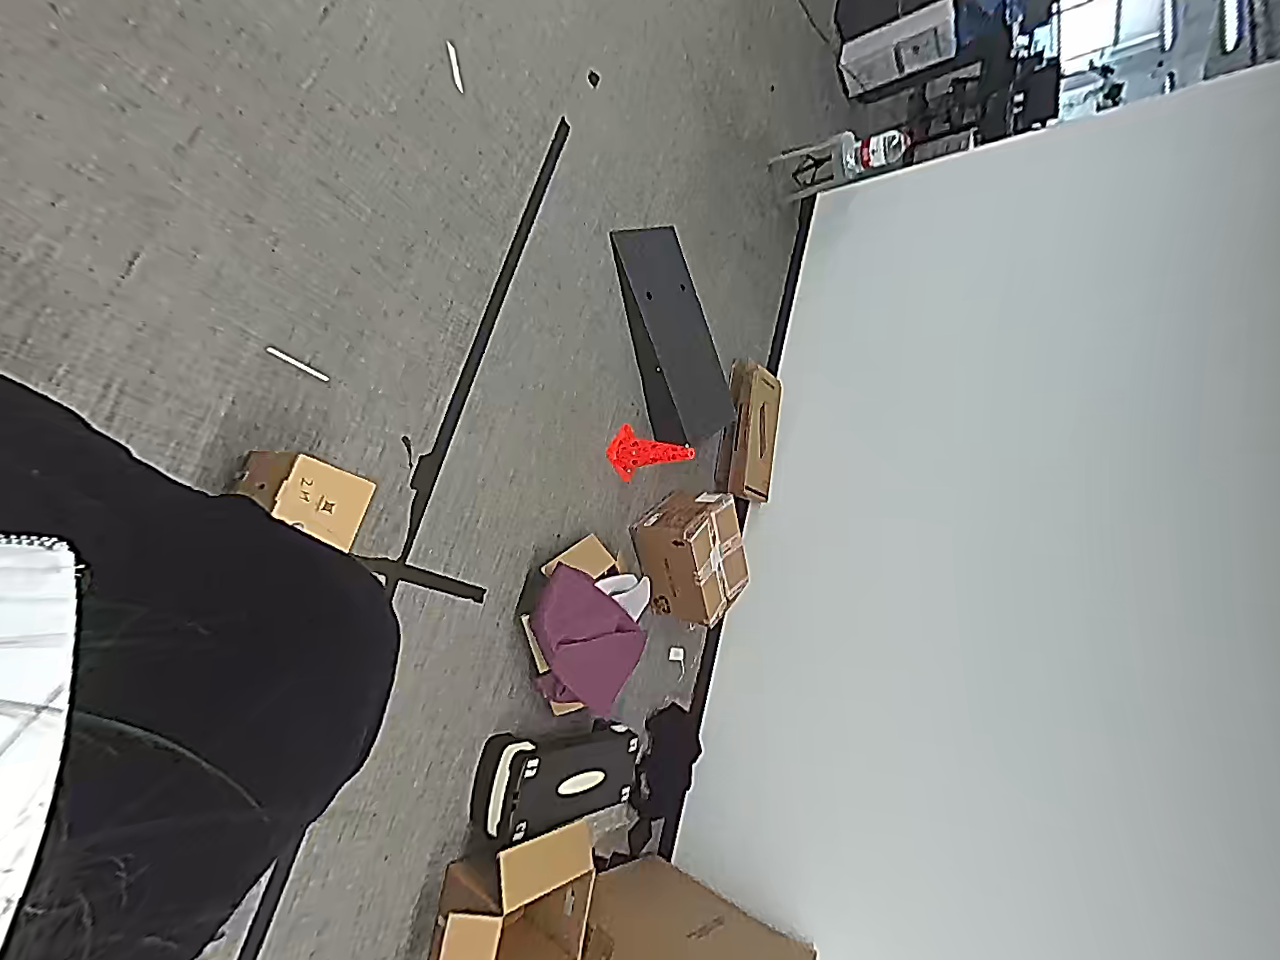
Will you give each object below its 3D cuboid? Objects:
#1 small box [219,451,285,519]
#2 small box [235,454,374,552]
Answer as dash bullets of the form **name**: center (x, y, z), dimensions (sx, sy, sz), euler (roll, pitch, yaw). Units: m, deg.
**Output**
- **small box**: center (-0.857, 0.036, 1.296), dimensions (0.179, 0.176, 0.168), euler (33, 66, -47)
- **small box**: center (-0.734, 0.047, 1.186), dimensions (0.179, 0.176, 0.168), euler (35, 65, -47)
